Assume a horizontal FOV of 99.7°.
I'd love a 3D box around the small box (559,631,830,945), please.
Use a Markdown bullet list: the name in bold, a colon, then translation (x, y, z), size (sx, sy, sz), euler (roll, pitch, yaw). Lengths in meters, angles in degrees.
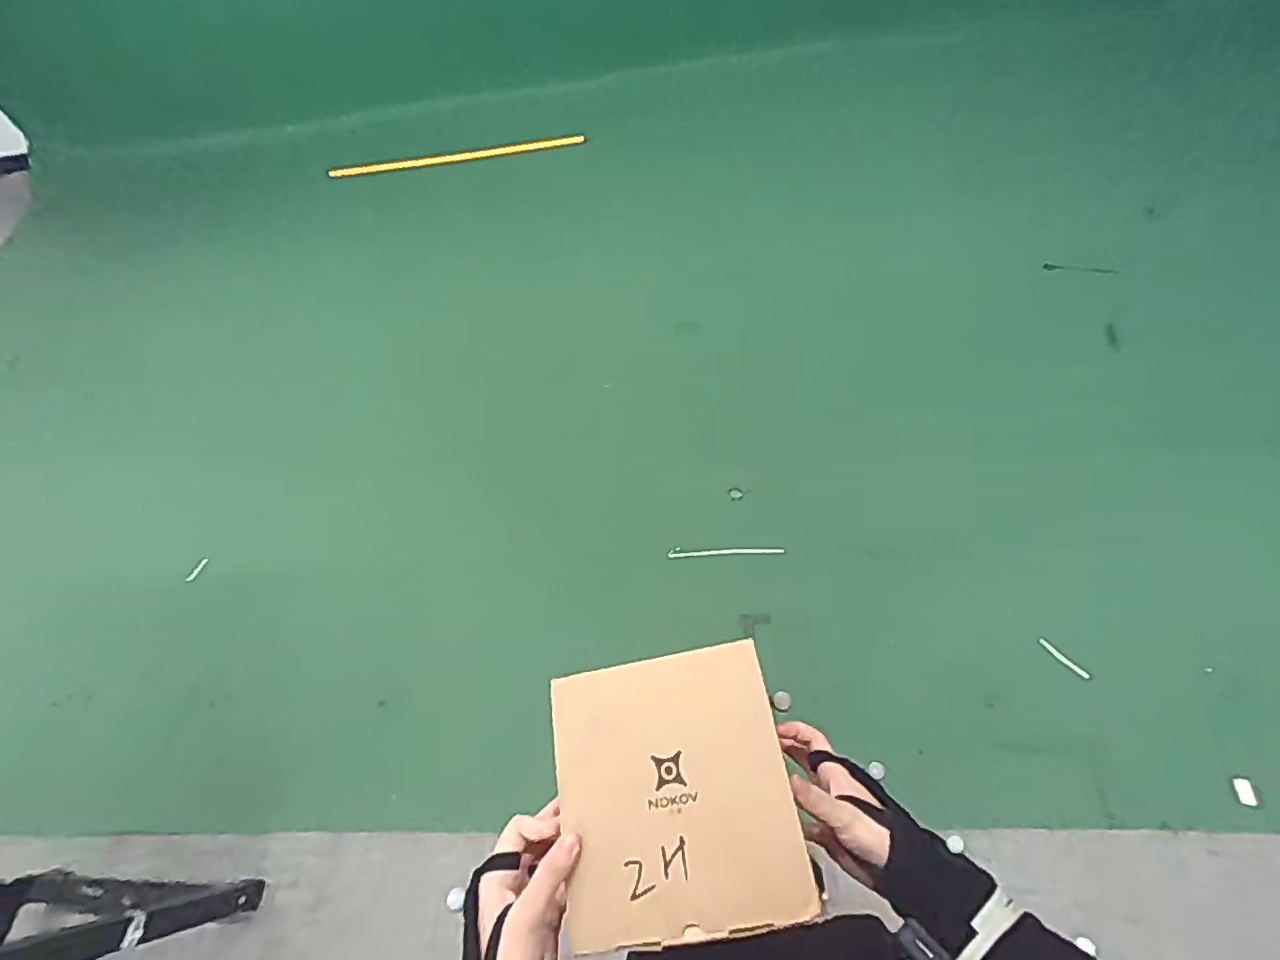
- **small box**: translation (0.040, 0.242, 0.444), size (0.168, 0.176, 0.179), euler (-13, 60, 6)
